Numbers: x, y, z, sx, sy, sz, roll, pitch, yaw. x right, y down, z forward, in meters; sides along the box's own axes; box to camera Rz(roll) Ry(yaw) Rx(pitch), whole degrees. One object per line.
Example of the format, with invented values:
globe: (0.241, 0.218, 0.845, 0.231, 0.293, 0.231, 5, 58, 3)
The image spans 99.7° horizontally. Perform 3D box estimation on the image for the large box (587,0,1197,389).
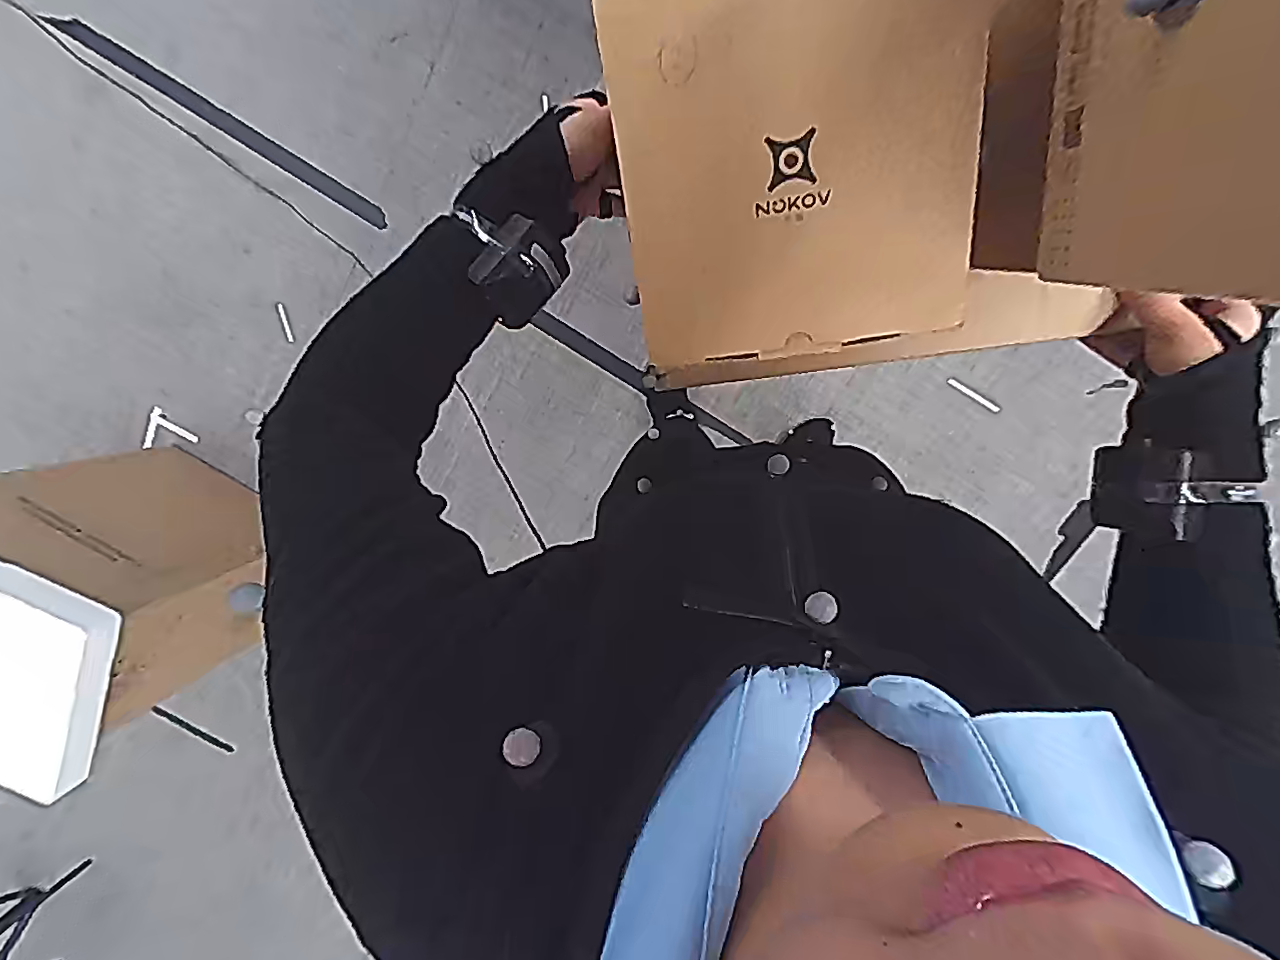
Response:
large box: (0.209, -0.298, 0.526, 0.408, 0.320, 0.320, -6, 108, 15)

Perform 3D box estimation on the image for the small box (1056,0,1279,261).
small box: (0.241, -0.150, 0.128, 0.179, 0.176, 0.168, -4, 112, 14)
